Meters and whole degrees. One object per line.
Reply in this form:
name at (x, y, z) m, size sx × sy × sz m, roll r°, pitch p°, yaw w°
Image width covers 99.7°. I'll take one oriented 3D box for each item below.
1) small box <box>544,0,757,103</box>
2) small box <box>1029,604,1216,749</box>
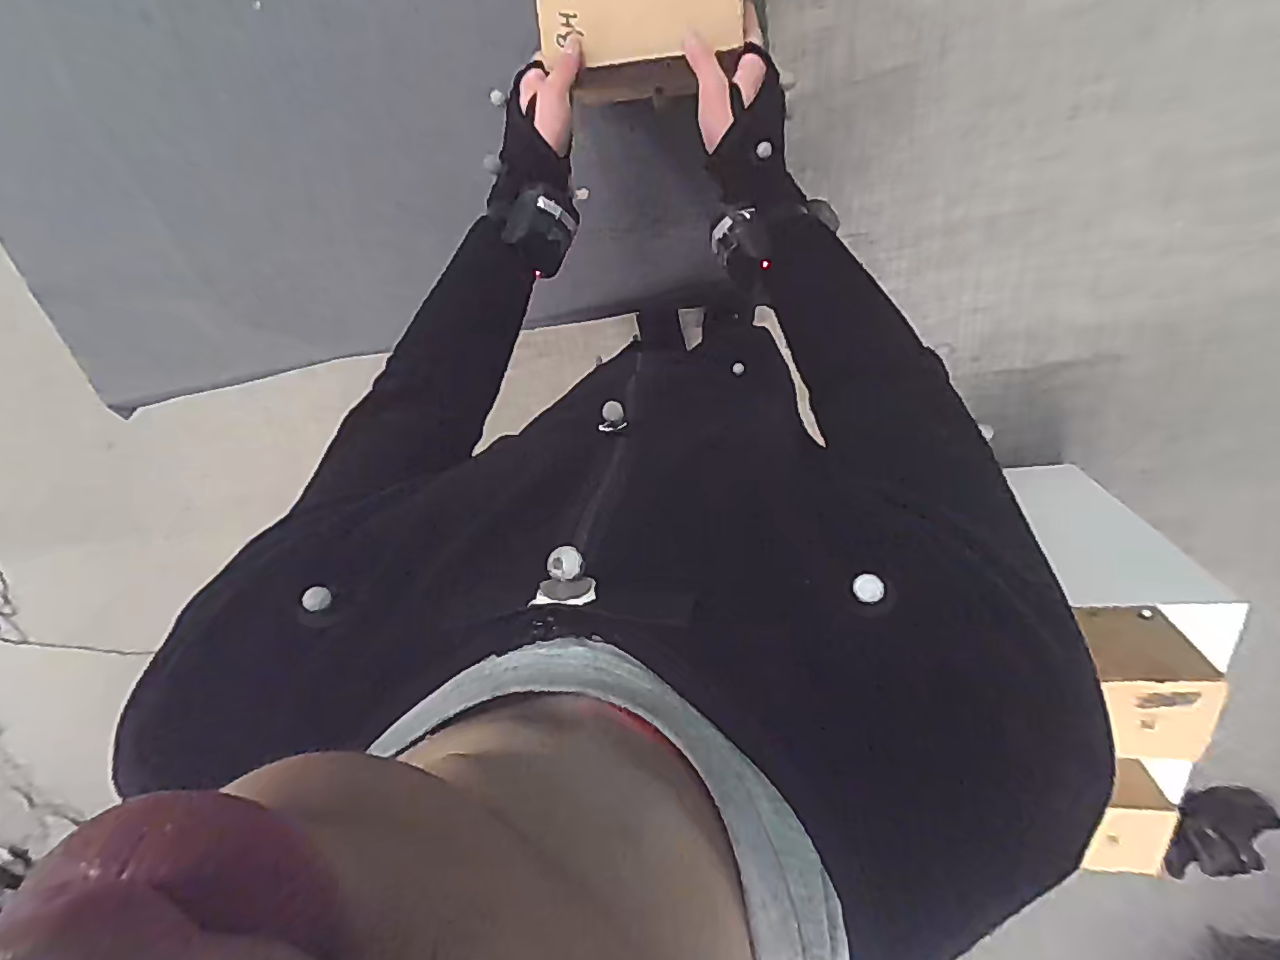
small box at (0.013, -0.461, 0.494) m, size 0.179 × 0.176 × 0.168 m, roll 0°, pitch 117°, yaw 8°
small box at (0.798, 0.327, 0.920) m, size 0.168 × 0.176 × 0.179 m, roll -4°, pitch 118°, yaw 13°
